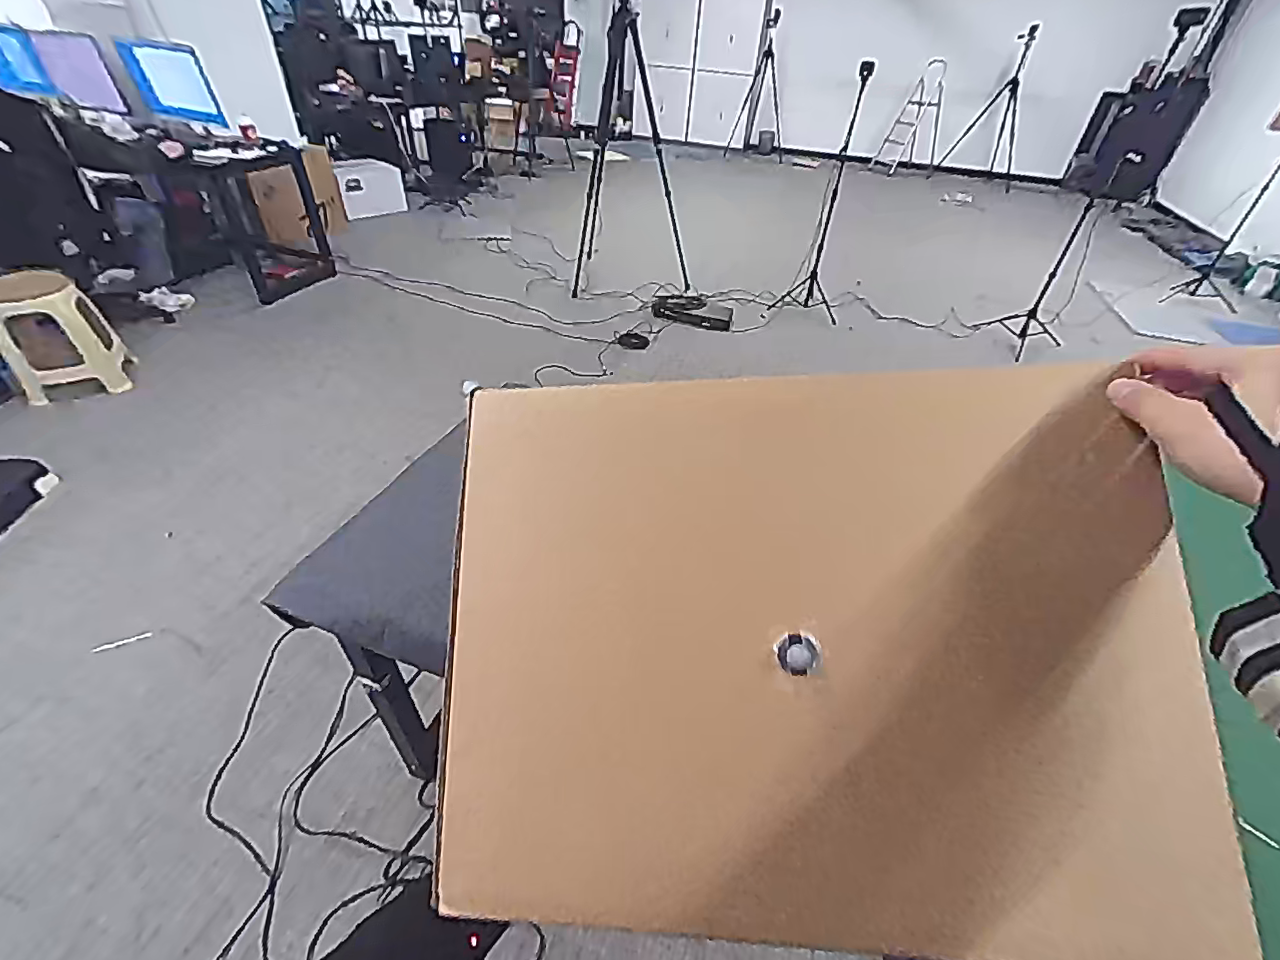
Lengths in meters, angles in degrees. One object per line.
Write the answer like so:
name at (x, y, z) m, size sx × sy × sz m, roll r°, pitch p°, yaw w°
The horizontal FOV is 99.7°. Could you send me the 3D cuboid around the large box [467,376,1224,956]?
large box at (0.109, 0.123, 0.457) m, size 0.408 × 0.320 × 0.320 m, roll -3°, pitch 78°, yaw 6°
